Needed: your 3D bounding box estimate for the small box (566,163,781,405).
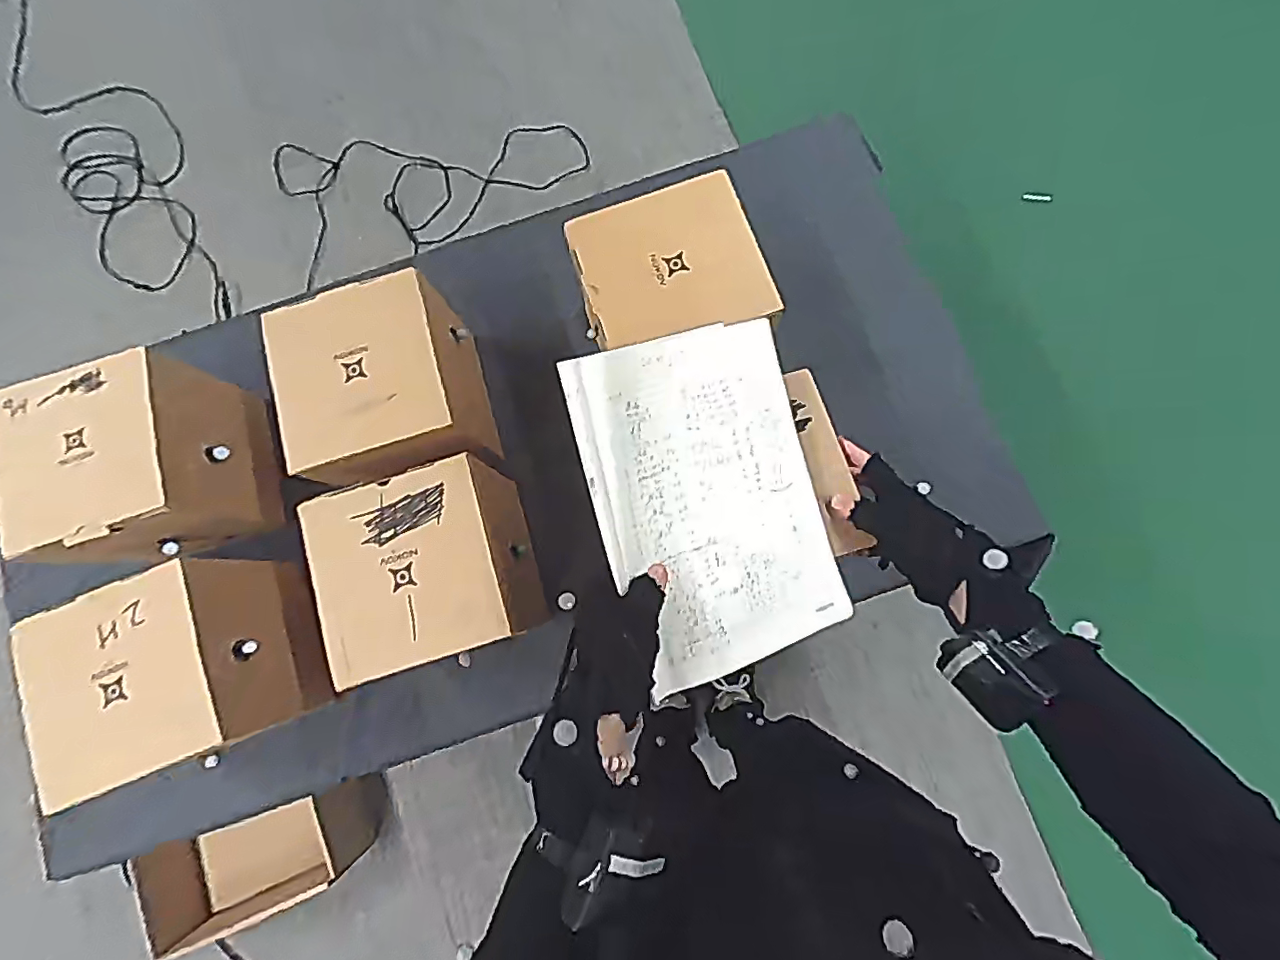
[{"bbox_3d":[0.034,-0.205,0.609,0.179,0.176,0.168,-19,80,0],"label":"small box"}]
